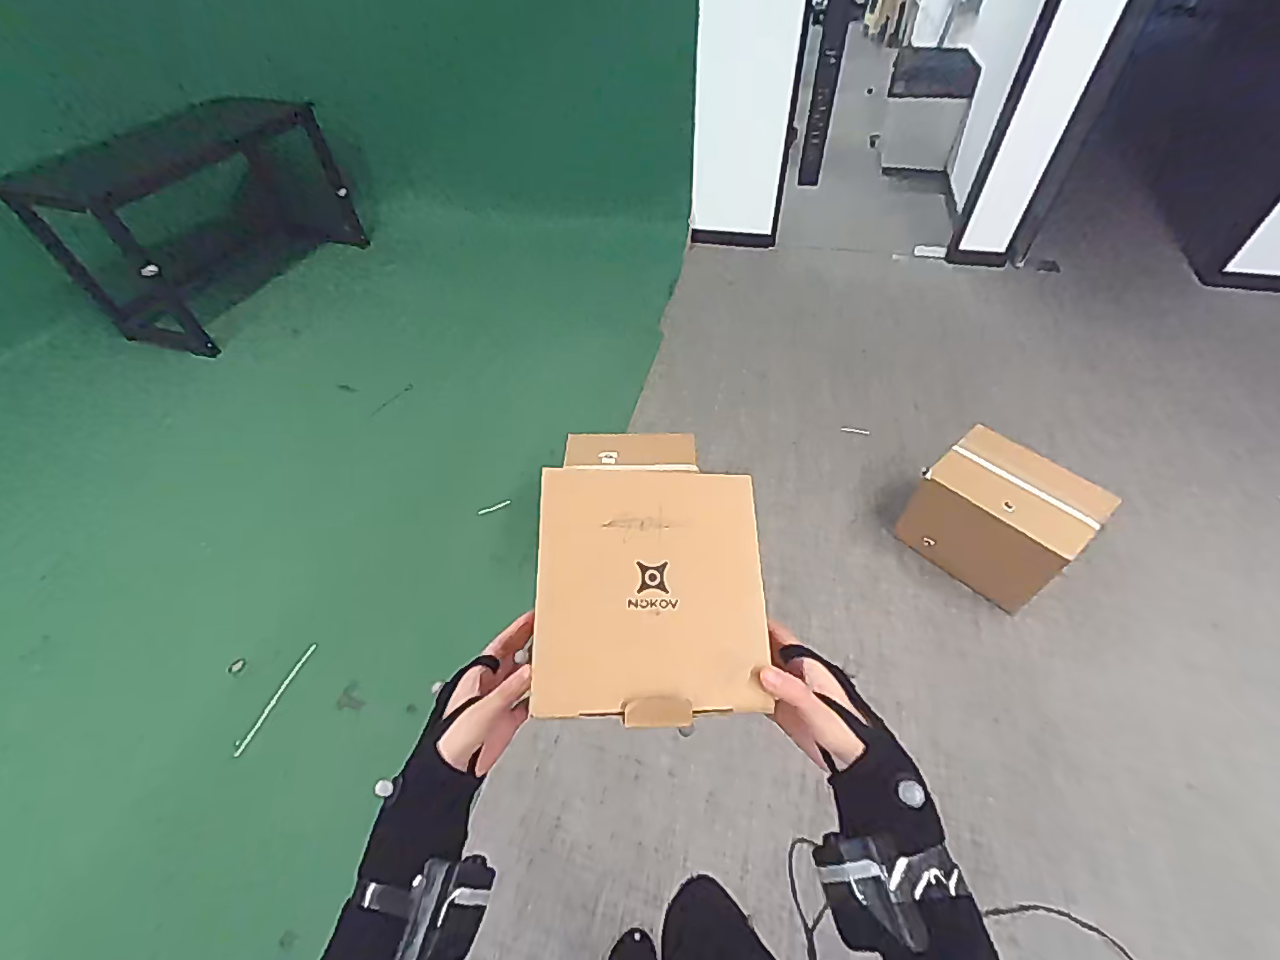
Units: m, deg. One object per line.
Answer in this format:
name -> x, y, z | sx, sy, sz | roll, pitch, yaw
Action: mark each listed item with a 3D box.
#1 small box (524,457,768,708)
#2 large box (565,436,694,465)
small box -> -0.005, 0.097, 0.459 | 0.168, 0.176, 0.179 | 3, 66, -9
large box -> -0.026, 0.080, 1.721 | 0.408, 0.320, 0.320 | -1, 48, 3
